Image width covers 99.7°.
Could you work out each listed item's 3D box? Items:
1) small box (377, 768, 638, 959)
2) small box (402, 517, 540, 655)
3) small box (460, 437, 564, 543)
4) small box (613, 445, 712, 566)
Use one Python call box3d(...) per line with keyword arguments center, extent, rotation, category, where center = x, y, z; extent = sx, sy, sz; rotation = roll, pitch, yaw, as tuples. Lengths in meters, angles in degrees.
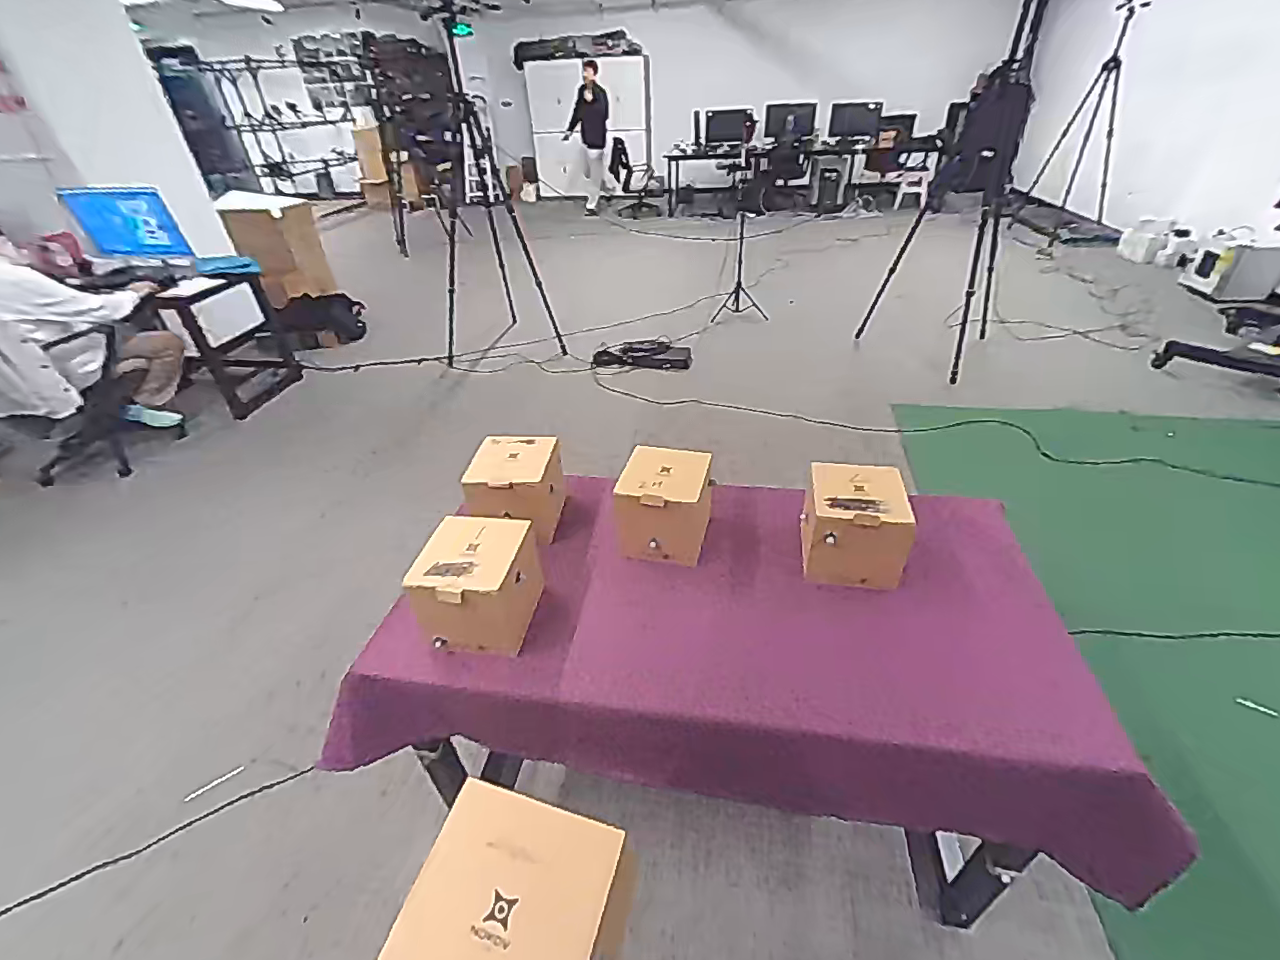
box3d(center=(-0.107, 0.413, 0.509), extent=(0.168, 0.176, 0.179), rotation=(10, 46, 17), category="small box")
box3d(center=(-0.285, 0.187, 0.963), extent=(0.168, 0.176, 0.179), rotation=(3, 35, 8), category="small box")
box3d(center=(-0.269, 0.022, 1.187), extent=(0.168, 0.176, 0.179), rotation=(1, 38, 5), category="small box")
box3d(center=(0.051, 0.050, 1.121), extent=(0.168, 0.176, 0.179), rotation=(7, 38, 15), category="small box")
